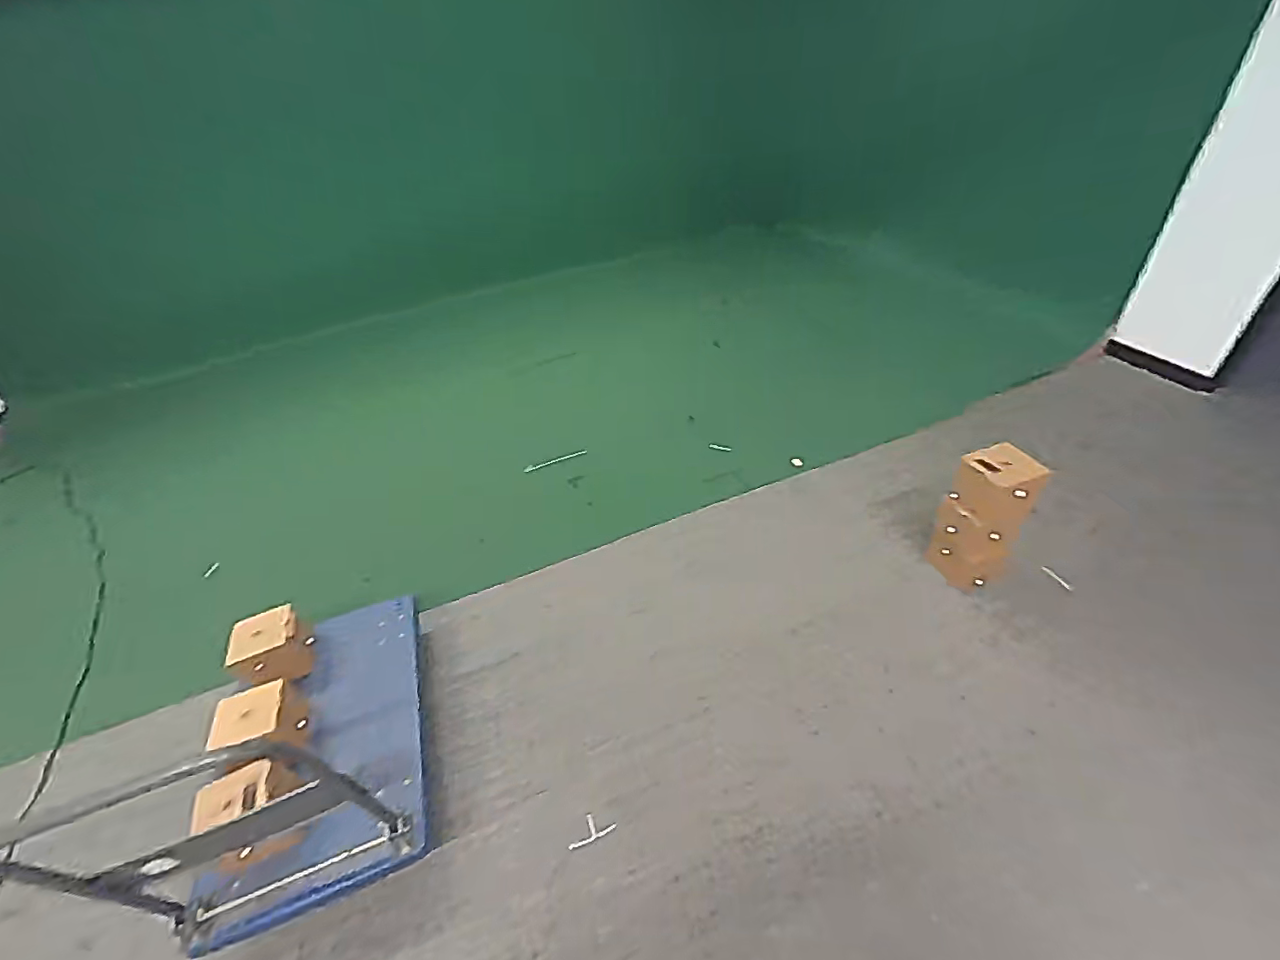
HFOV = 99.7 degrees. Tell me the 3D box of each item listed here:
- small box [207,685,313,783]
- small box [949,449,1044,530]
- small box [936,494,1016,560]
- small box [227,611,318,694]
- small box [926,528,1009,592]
[{"bbox_3d":[-1.072,0.726,1.541,0.179,0.176,0.168,-18,41,-11],"label":"small box"},{"bbox_3d":[1.112,0.033,1.707,0.179,0.176,0.168,-17,42,-8],"label":"small box"},{"bbox_3d":[1.121,0.140,1.809,0.179,0.176,0.168,-17,41,-6],"label":"small box"},{"bbox_3d":[-1.175,0.561,1.742,0.179,0.176,0.168,-19,43,-11],"label":"small box"},{"bbox_3d":[1.148,0.264,1.913,0.168,0.176,0.179,-16,41,-7],"label":"small box"}]
